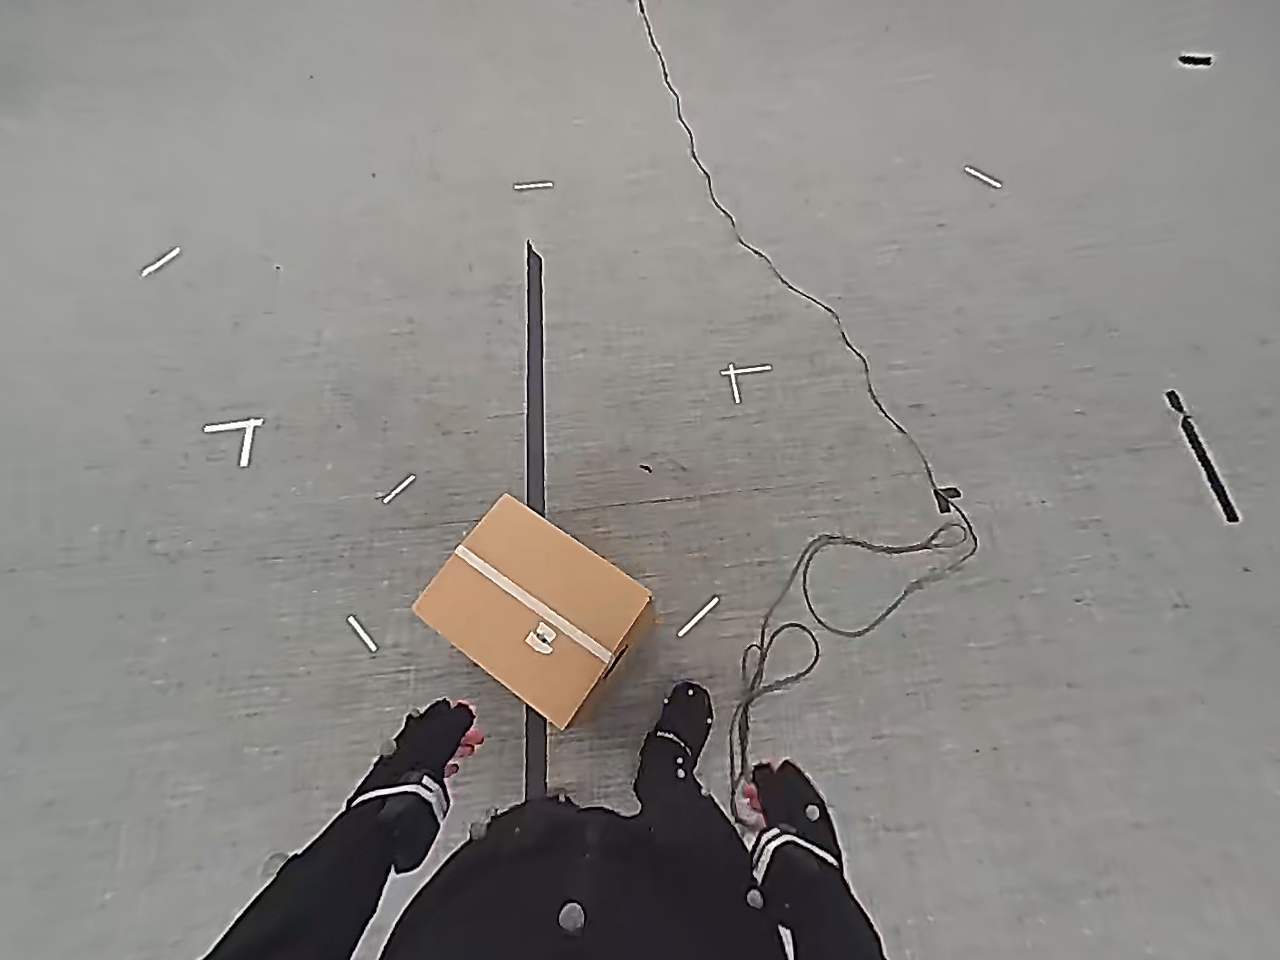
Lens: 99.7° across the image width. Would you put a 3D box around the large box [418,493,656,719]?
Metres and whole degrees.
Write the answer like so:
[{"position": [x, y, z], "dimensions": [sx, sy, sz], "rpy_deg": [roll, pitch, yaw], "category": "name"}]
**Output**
[{"position": [-0.213, 0.299, 1.257], "dimensions": [0.408, 0.320, 0.320], "rpy_deg": [32, 73, 13], "category": "large box"}]
